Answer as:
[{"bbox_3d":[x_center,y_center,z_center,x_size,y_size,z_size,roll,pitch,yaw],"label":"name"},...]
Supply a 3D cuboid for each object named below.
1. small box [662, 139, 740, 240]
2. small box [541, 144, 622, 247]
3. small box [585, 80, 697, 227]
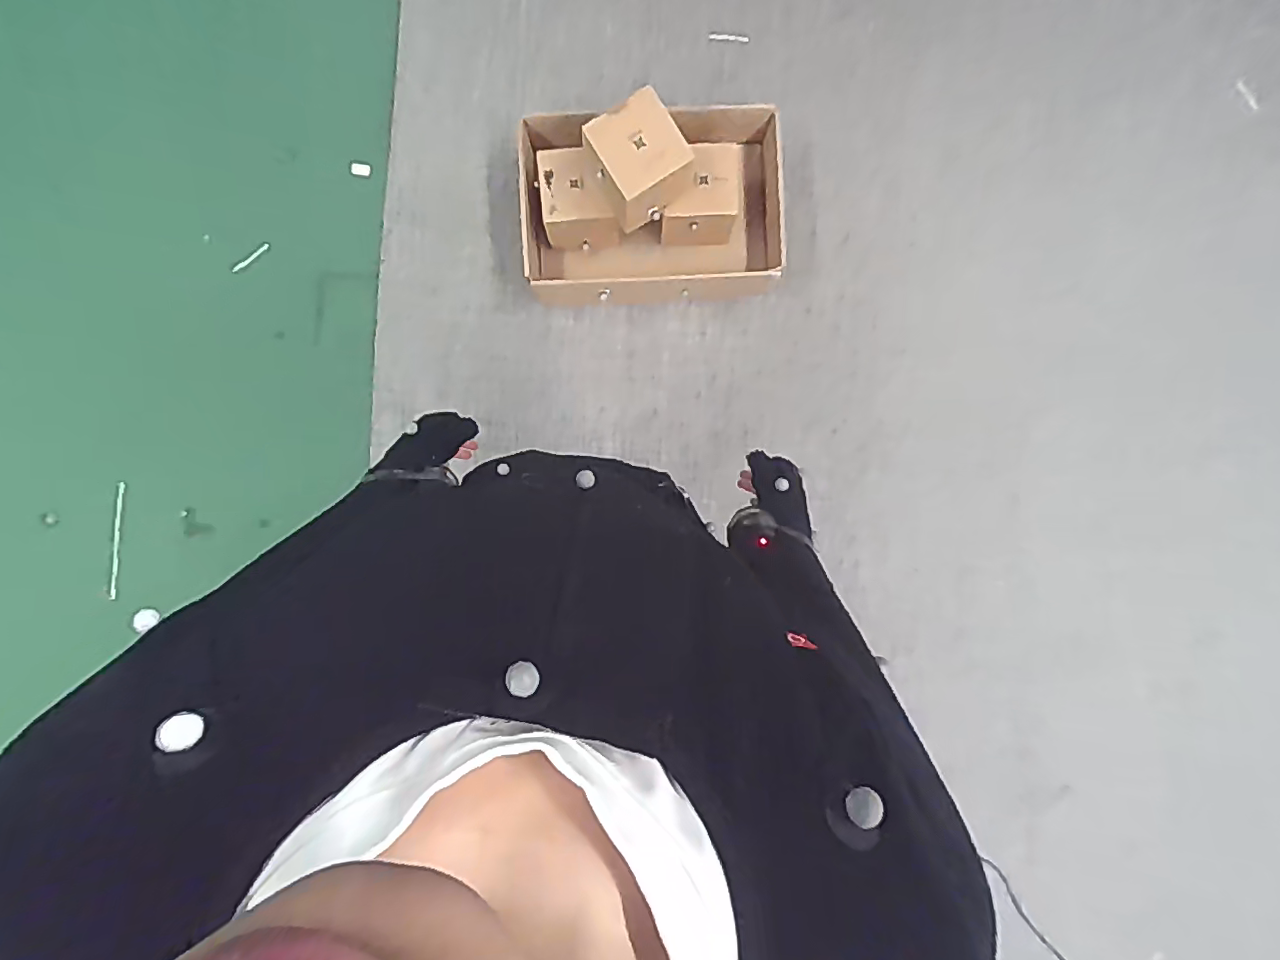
[{"bbox_3d":[0.142,-0.700,1.319,0.179,0.176,0.168,-2,92,0],"label":"small box"},{"bbox_3d":[-0.139,-0.686,1.316,0.179,0.176,0.168,-6,91,-3],"label":"small box"},{"bbox_3d":[0.000,-0.685,1.158,0.168,0.176,0.179,-33,93,1],"label":"small box"}]
